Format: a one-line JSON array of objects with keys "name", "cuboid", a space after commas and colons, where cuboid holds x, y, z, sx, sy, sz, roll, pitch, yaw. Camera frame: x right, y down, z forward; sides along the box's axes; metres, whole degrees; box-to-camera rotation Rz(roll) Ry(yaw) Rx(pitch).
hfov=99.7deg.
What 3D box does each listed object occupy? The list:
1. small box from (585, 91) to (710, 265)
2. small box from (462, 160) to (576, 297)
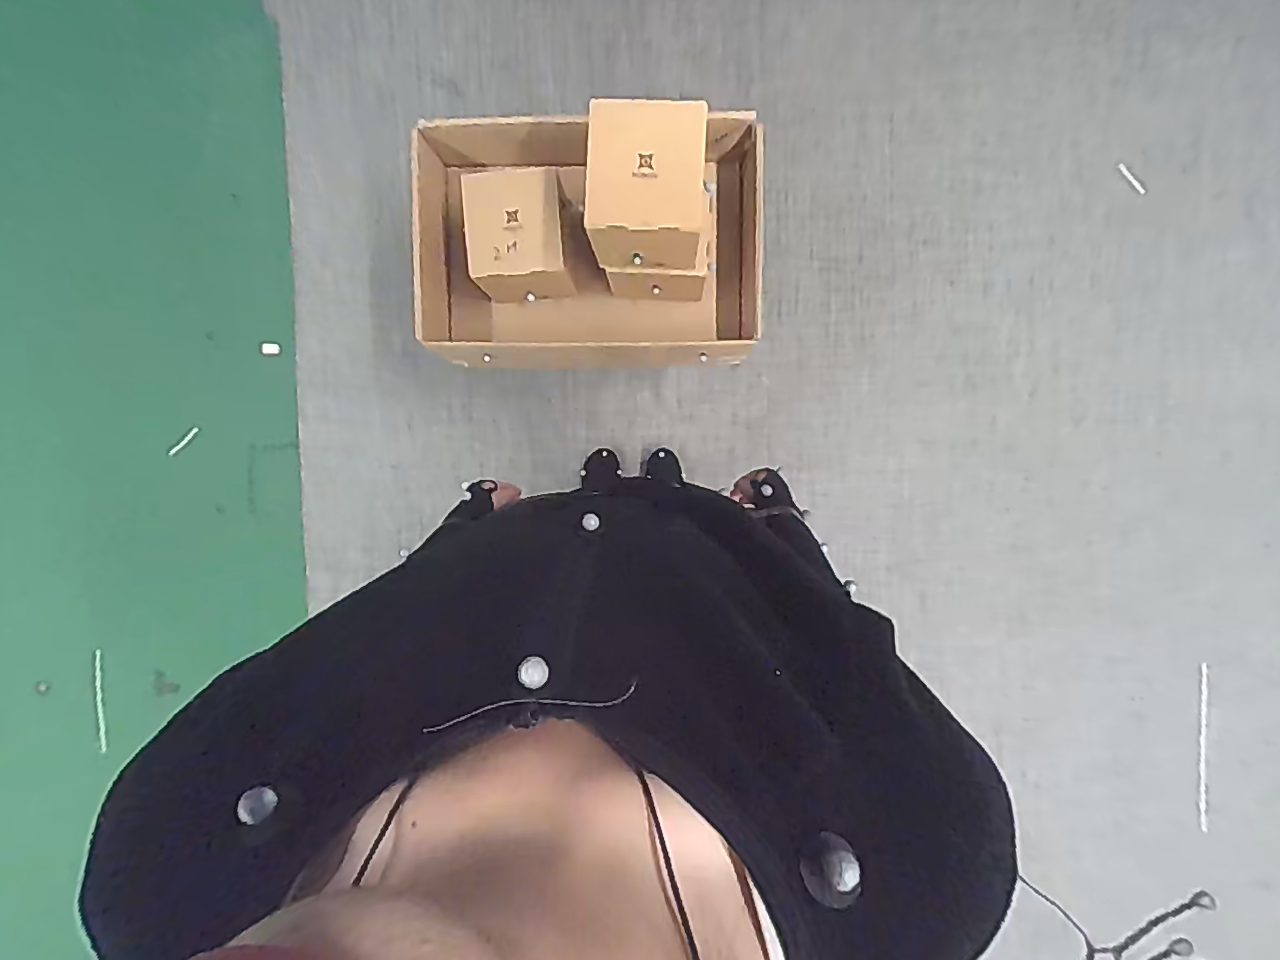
[{"name": "small box", "cuboid": [0.012, -0.448, 0.823, 0.168, 0.176, 0.179, 3, 93, 3]}, {"name": "small box", "cuboid": [-0.214, -0.452, 0.991, 0.168, 0.176, 0.179, -4, 94, 2]}]
